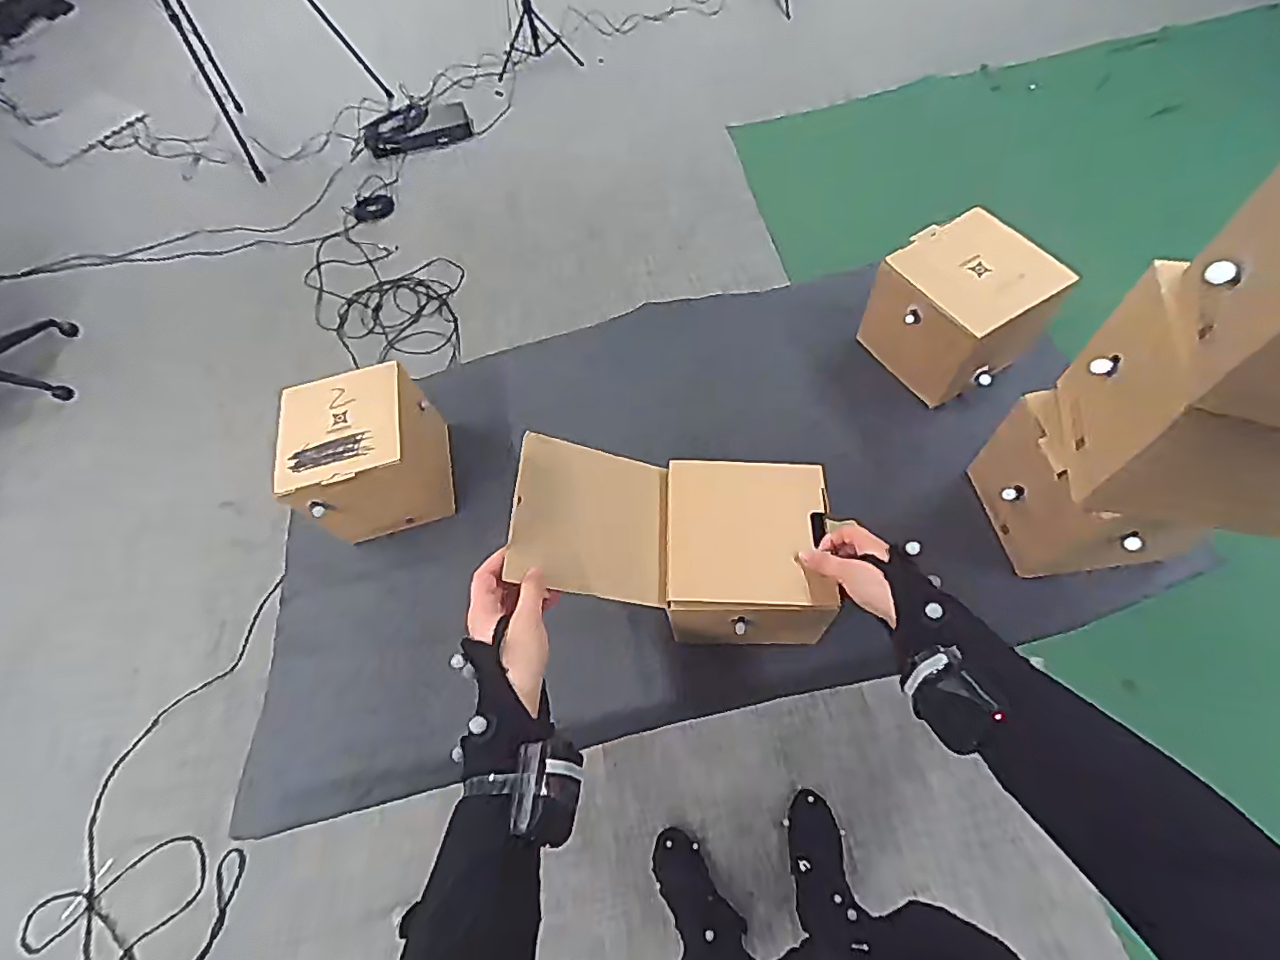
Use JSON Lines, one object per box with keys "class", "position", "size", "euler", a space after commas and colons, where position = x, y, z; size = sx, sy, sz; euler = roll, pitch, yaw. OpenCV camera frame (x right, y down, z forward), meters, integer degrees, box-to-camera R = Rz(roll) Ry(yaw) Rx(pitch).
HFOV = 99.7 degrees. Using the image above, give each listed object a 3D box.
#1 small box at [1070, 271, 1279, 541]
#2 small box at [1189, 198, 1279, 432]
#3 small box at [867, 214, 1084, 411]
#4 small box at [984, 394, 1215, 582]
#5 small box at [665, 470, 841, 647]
{"class": "small box", "position": [0.527, -0.061, 0.487], "size": [0.179, 0.176, 0.168], "euler": [11, 61, 14]}
{"class": "small box", "position": [0.509, -0.124, 0.334], "size": [0.179, 0.176, 0.168], "euler": [19, 64, 19]}
{"class": "small box", "position": [0.460, -0.234, 0.779], "size": [0.168, 0.176, 0.179], "euler": [-30, 64, -5]}
{"class": "small box", "position": [0.541, 0.009, 0.635], "size": [0.179, 0.176, 0.168], "euler": [-9, 58, 4]}
{"class": "small box", "position": [0.126, 0.101, 0.644], "size": [0.179, 0.176, 0.168], "euler": [-2, 63, 8]}
